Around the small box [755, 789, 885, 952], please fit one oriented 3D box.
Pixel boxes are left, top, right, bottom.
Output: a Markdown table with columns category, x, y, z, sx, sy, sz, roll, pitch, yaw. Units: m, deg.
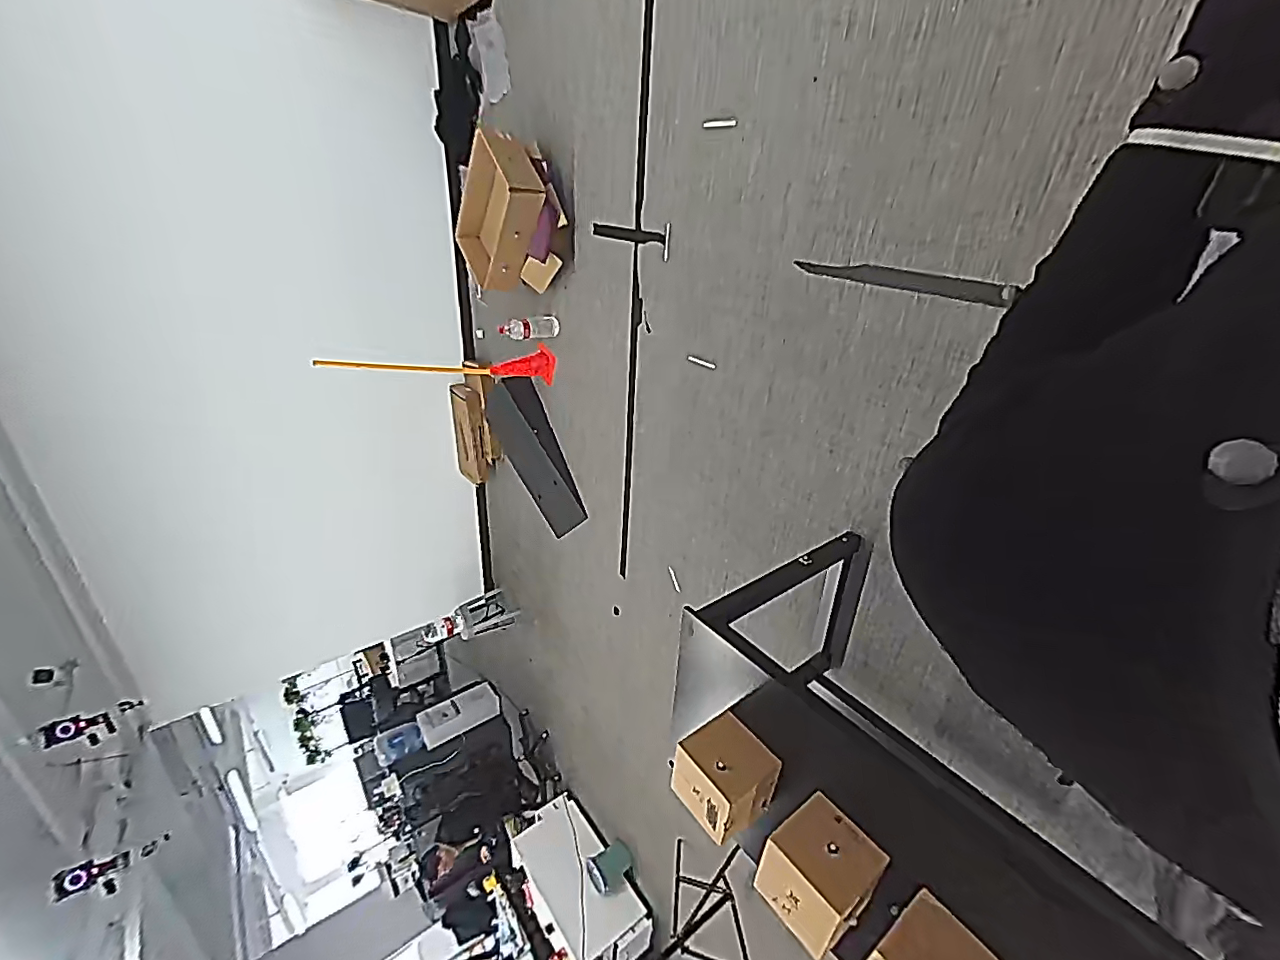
| category | x | y | z | sx | sy | sz | roll | pitch | yaw |
| --- | --- | --- | --- | --- | --- | --- | --- | --- | --- |
| small box | 0.361 | 0.771 | 1.085 | 0.168 | 0.176 | 0.179 | 35 | 130 | 43 |

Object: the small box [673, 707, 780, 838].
| category | x | y | z | sx | sy | sz | roll | pitch | yaw |
| --- | --- | --- | --- | --- | --- | --- | --- | --- | --- |
| small box | 0.202 | 0.676 | 1.268 | 0.179 | 0.176 | 0.168 | 35 | 131 | 43 |
